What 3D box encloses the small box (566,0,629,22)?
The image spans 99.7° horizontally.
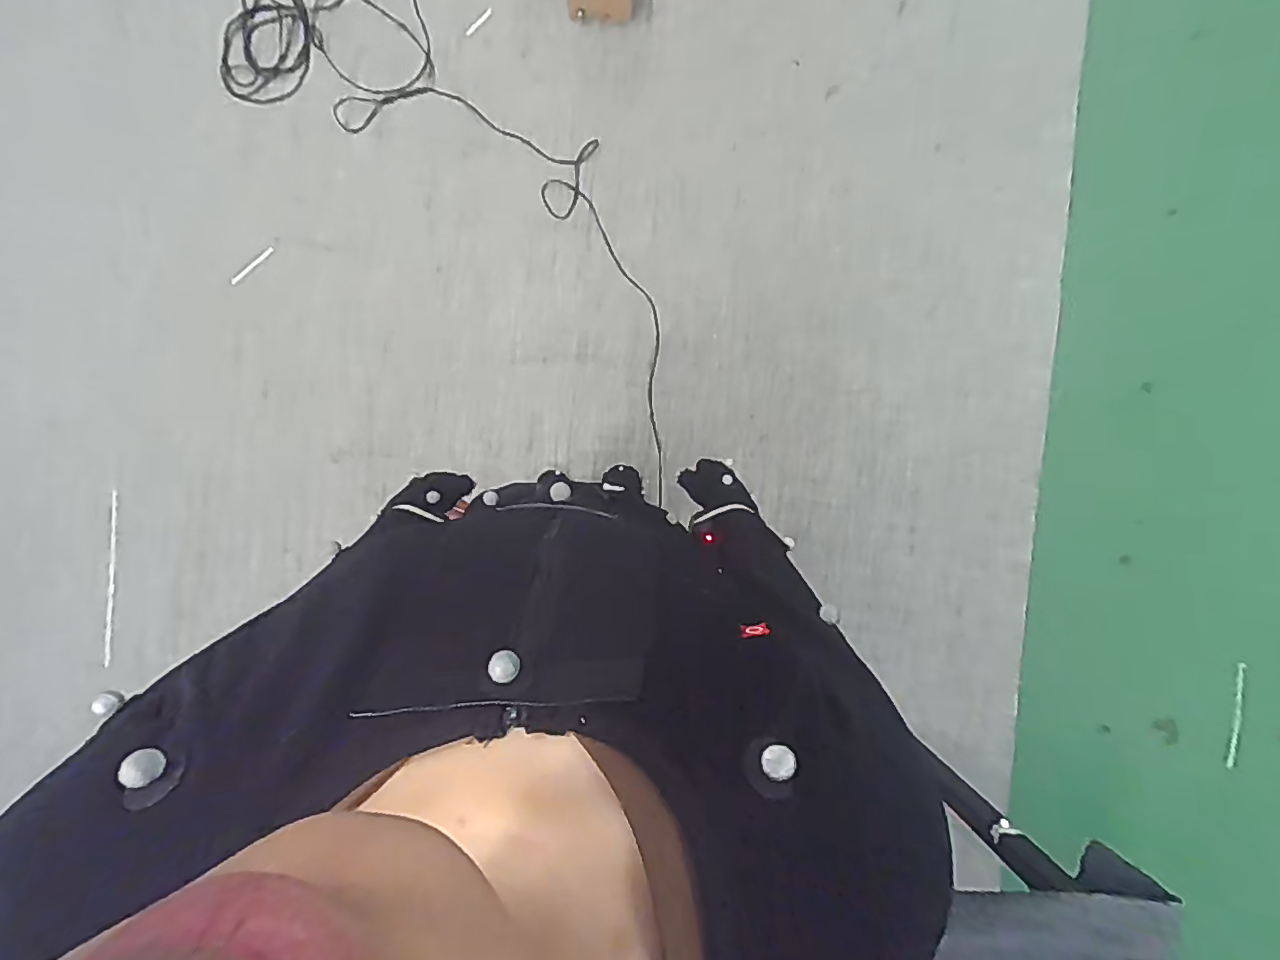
[{"bbox_3d":[-0.107,-1.310,1.364,0.168,0.176,0.179,2,91,-3],"label":"small box"}]
